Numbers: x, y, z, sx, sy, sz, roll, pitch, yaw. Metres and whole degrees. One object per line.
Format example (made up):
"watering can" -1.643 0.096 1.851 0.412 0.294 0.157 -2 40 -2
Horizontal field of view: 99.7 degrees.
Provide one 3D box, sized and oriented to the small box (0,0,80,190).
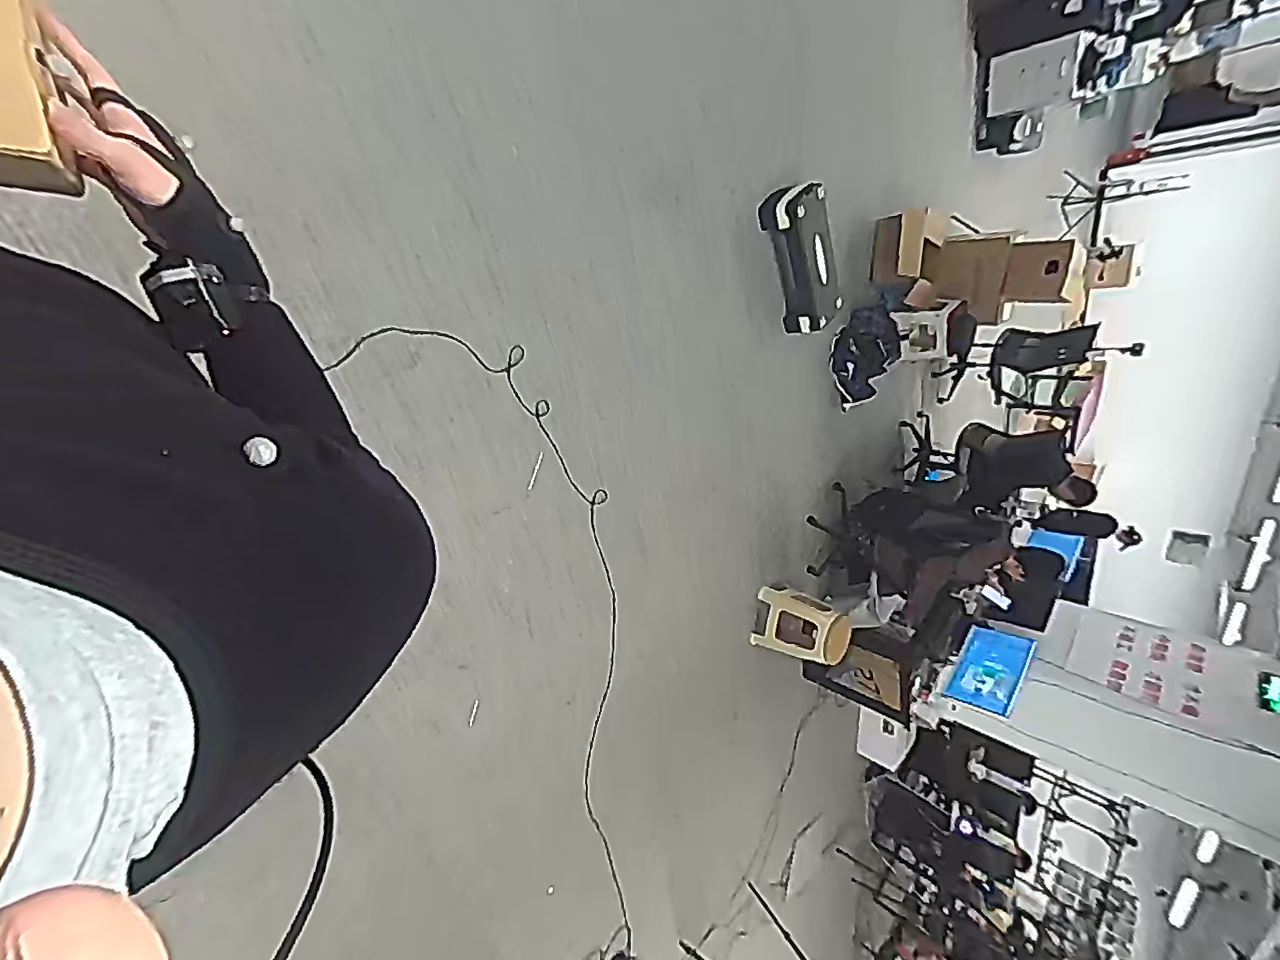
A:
"small box" -0.474 -0.289 0.324 0.168 0.176 0.179 -12 112 -40
